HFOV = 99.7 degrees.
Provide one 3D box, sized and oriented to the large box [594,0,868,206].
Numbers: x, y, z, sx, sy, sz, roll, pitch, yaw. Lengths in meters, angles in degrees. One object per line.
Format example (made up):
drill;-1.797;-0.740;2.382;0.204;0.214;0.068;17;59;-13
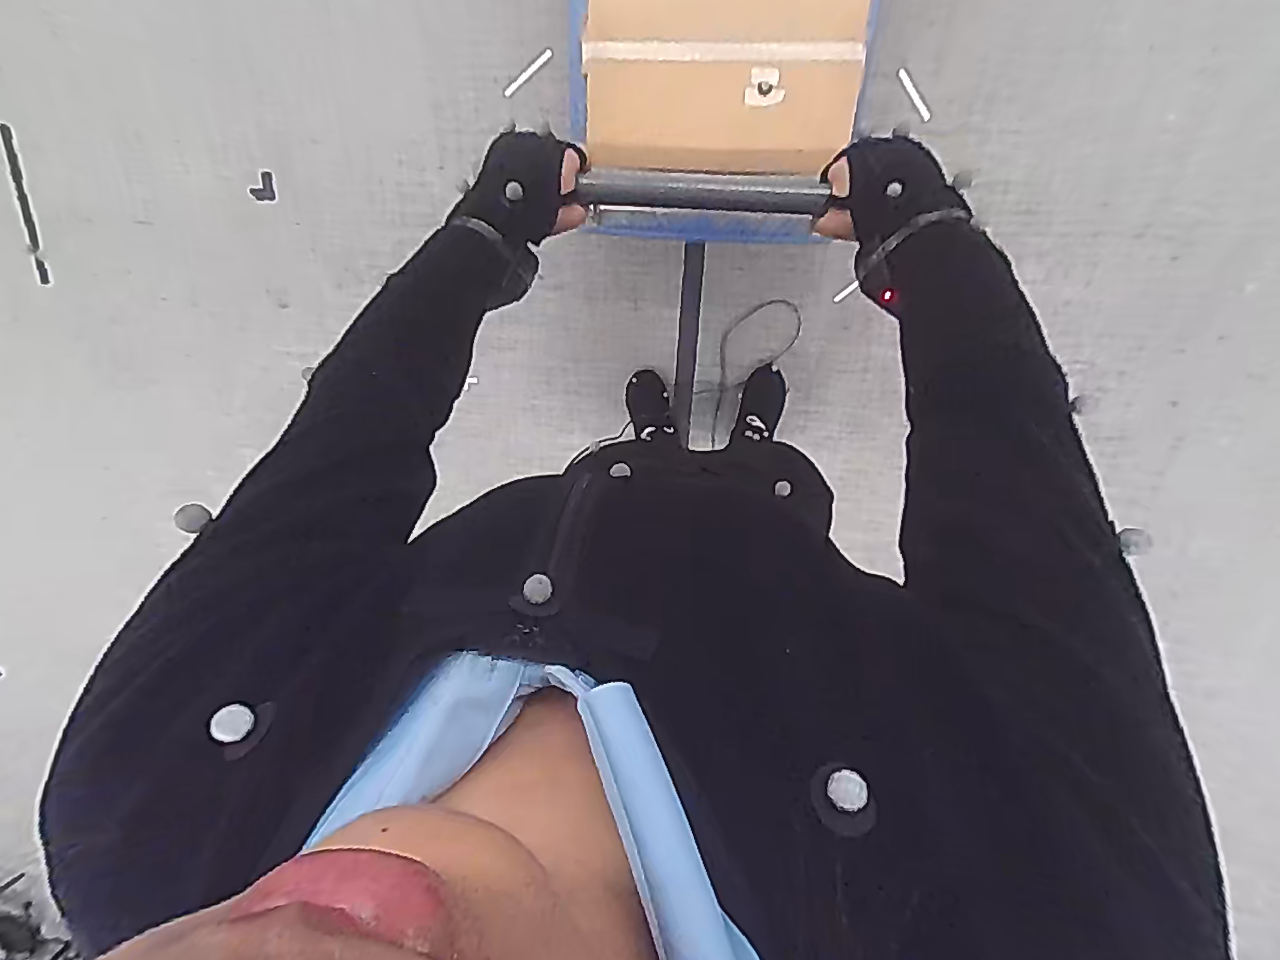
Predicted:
large box;0.139;-0.679;0.952;0.408;0.320;0.320;4;110;4
